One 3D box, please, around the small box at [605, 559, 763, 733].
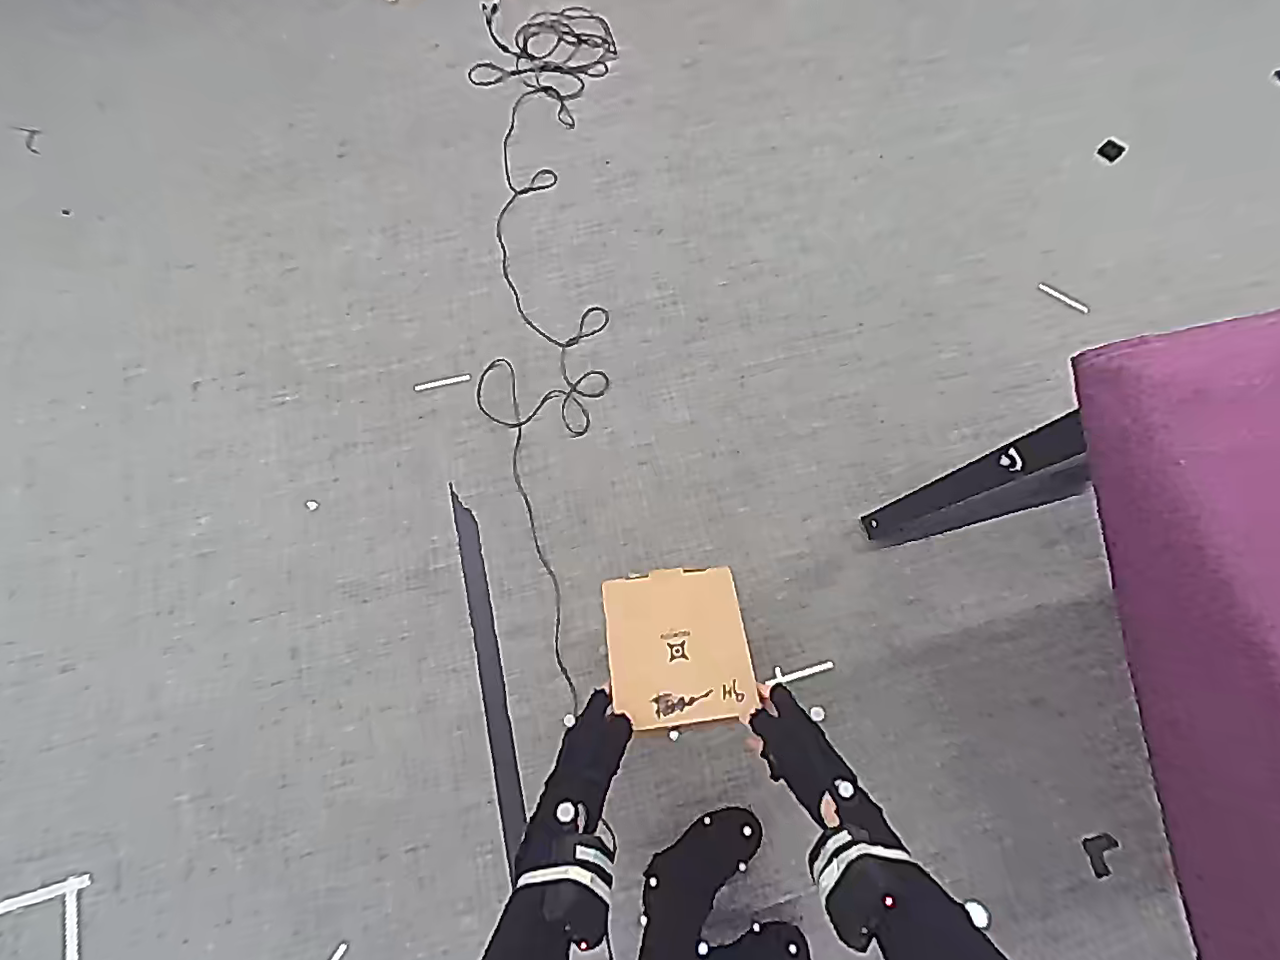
[{"bbox_3d":[0.045,0.220,0.703,0.168,0.176,0.179,-7,63,-4],"label":"small box"}]
